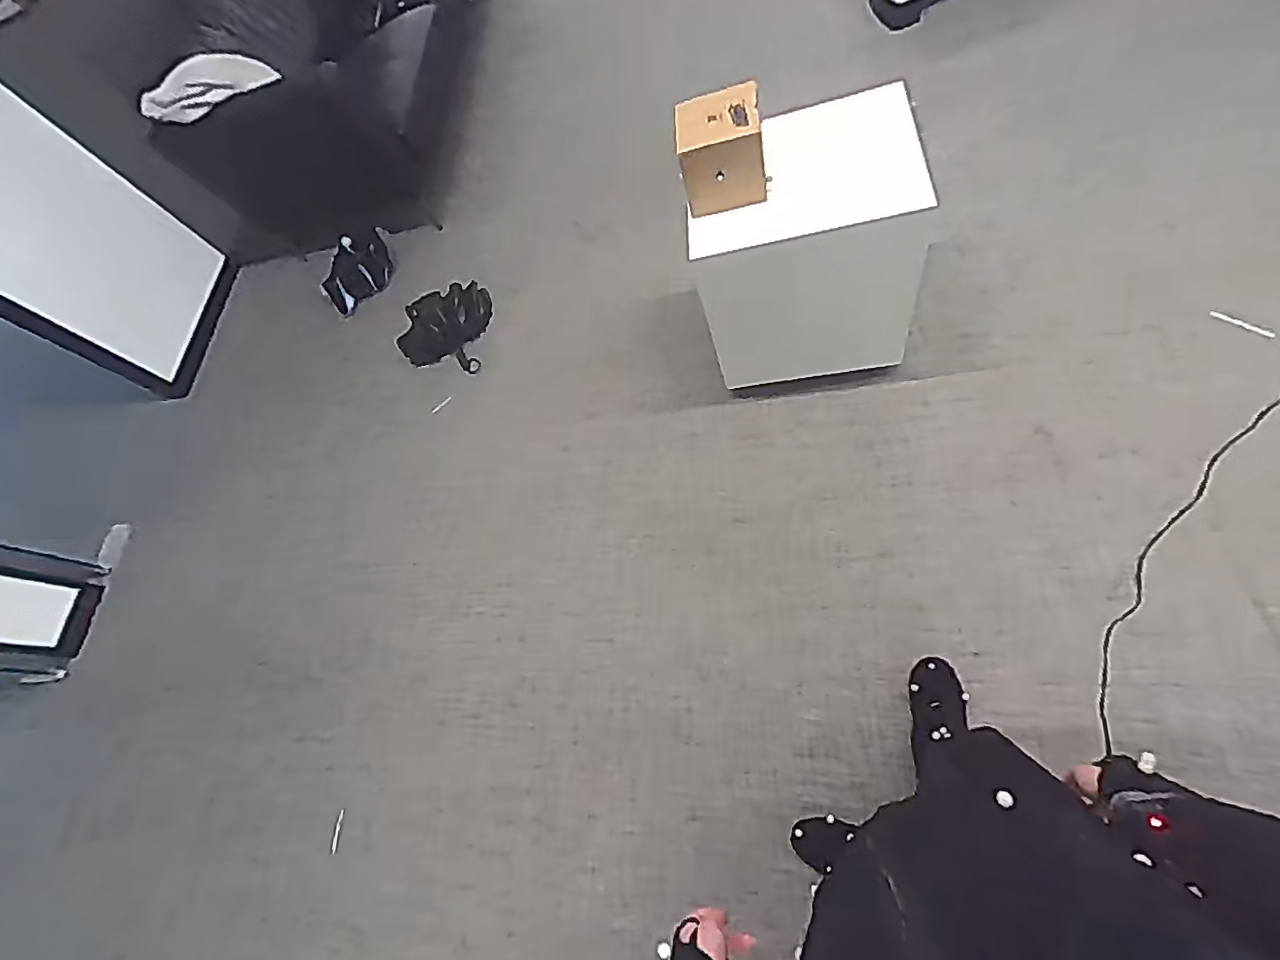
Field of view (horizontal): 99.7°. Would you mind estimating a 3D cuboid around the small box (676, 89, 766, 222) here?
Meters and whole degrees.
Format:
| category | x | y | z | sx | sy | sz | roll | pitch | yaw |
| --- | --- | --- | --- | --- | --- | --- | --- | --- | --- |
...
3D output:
| category | x | y | z | sx | sy | sz | roll | pitch | yaw |
| --- | --- | --- | --- | --- | --- | --- | --- | --- | --- |
| small box | 0.183 | -0.712 | 1.202 | 0.179 | 0.176 | 0.168 | -7 | 65 | 16 |
